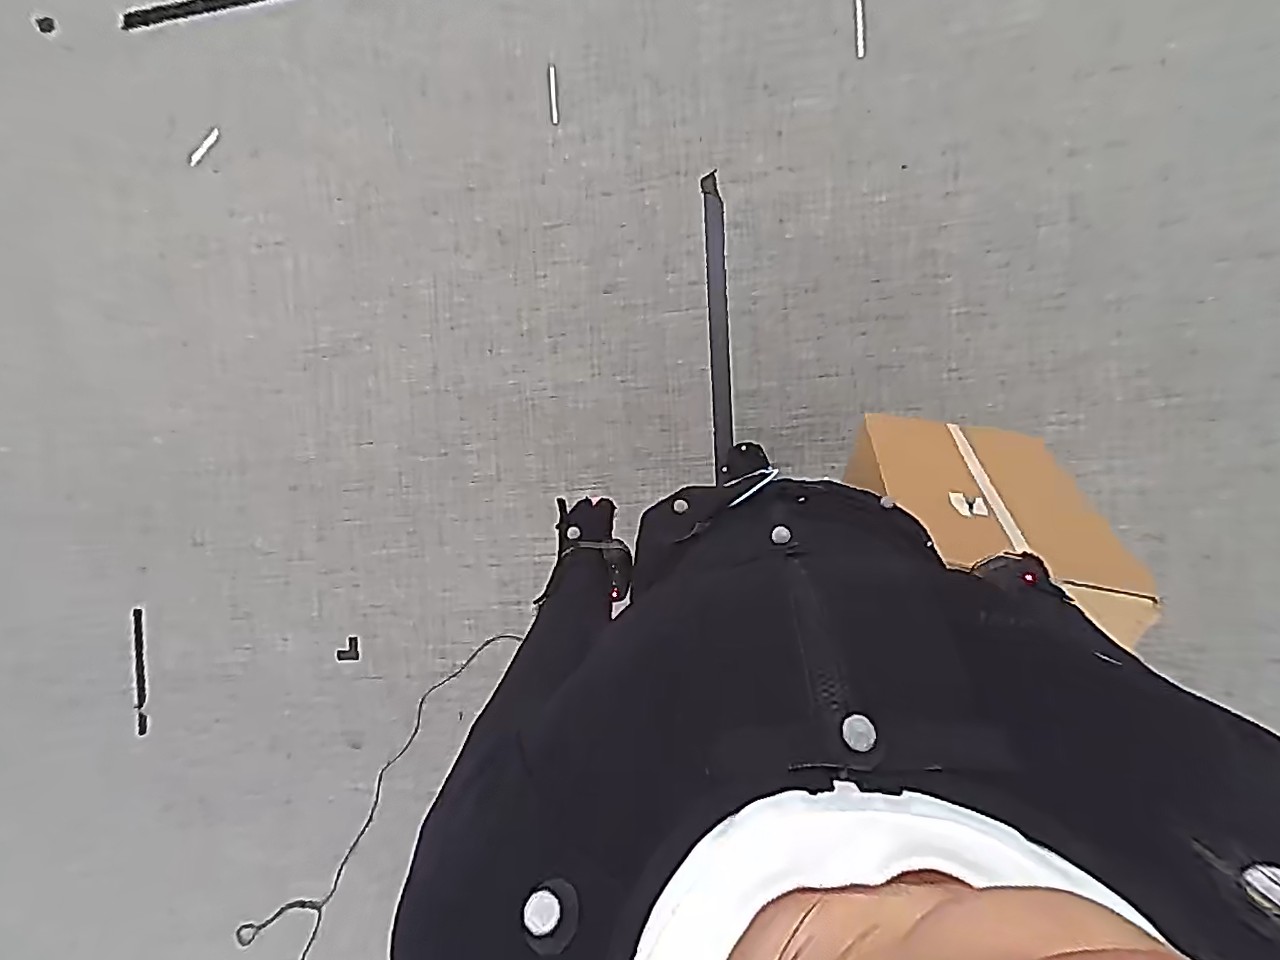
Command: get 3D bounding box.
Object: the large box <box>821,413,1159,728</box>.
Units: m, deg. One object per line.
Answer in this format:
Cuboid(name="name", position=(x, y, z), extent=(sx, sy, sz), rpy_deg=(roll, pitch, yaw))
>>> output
Cuboid(name="large box", position=(0.519, 0.134, 0.928), extent=(0.320, 0.408, 0.320), rpy_deg=(9, 127, 7))
